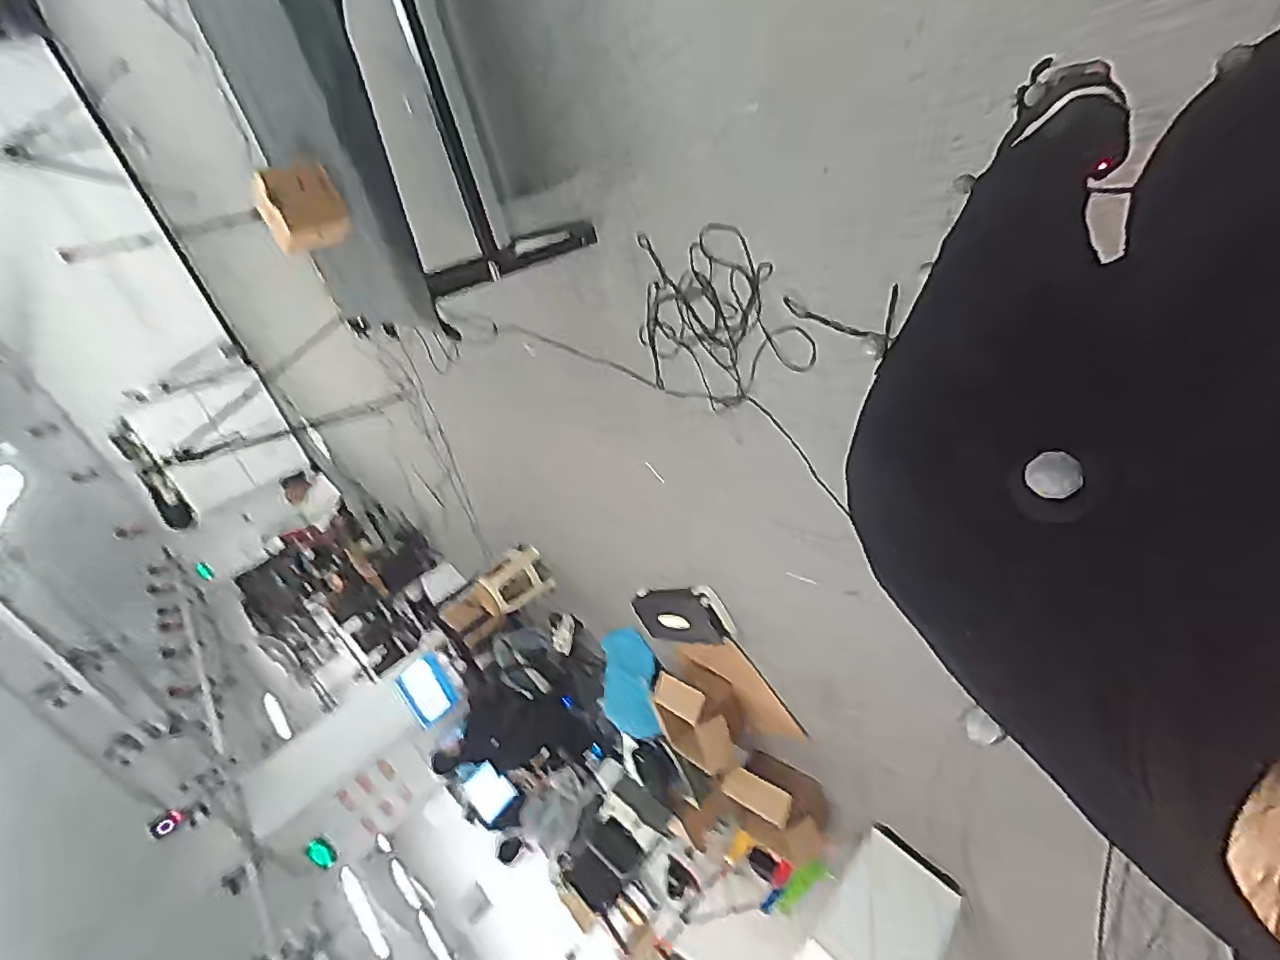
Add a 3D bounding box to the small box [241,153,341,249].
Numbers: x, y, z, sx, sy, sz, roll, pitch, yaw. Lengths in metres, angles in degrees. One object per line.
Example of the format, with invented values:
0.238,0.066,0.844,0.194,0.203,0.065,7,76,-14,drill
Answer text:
-0.943,-0.757,1.467,0.179,0.176,0.168,-1,117,53,small box
